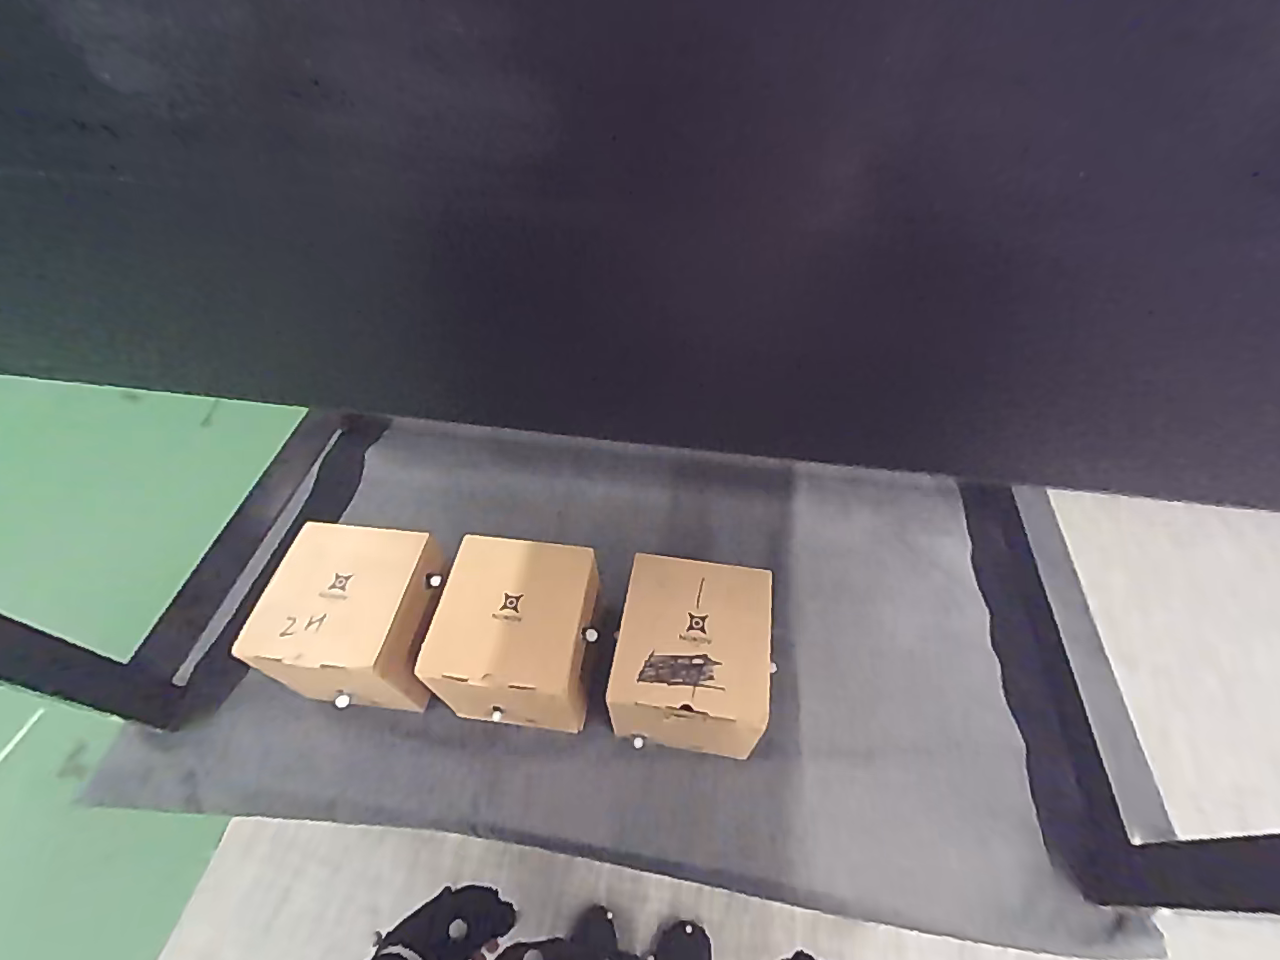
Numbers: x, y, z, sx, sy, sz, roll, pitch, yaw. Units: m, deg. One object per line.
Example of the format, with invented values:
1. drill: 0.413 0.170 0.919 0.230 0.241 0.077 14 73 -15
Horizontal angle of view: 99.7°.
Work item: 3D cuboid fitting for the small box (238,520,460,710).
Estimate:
1. small box: -0.350 0.175 0.697 0.168 0.176 0.179 5 53 5
